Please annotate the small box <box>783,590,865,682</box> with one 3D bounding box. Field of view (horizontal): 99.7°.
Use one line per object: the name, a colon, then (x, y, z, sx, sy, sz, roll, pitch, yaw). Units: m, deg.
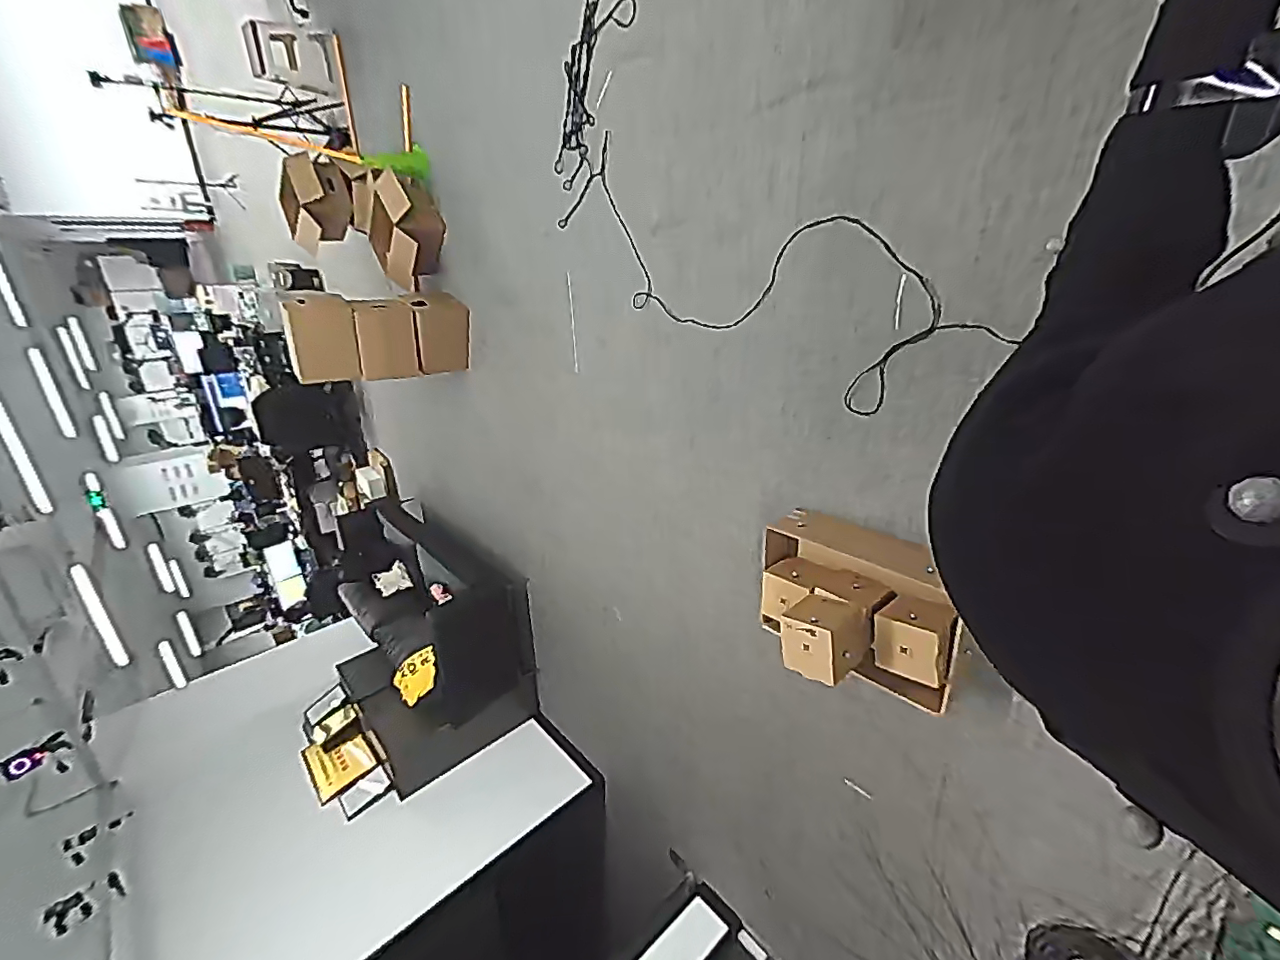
small box: (0.543, 0.448, 1.583, 0.168, 0.176, 0.179, 8, 112, 48)
